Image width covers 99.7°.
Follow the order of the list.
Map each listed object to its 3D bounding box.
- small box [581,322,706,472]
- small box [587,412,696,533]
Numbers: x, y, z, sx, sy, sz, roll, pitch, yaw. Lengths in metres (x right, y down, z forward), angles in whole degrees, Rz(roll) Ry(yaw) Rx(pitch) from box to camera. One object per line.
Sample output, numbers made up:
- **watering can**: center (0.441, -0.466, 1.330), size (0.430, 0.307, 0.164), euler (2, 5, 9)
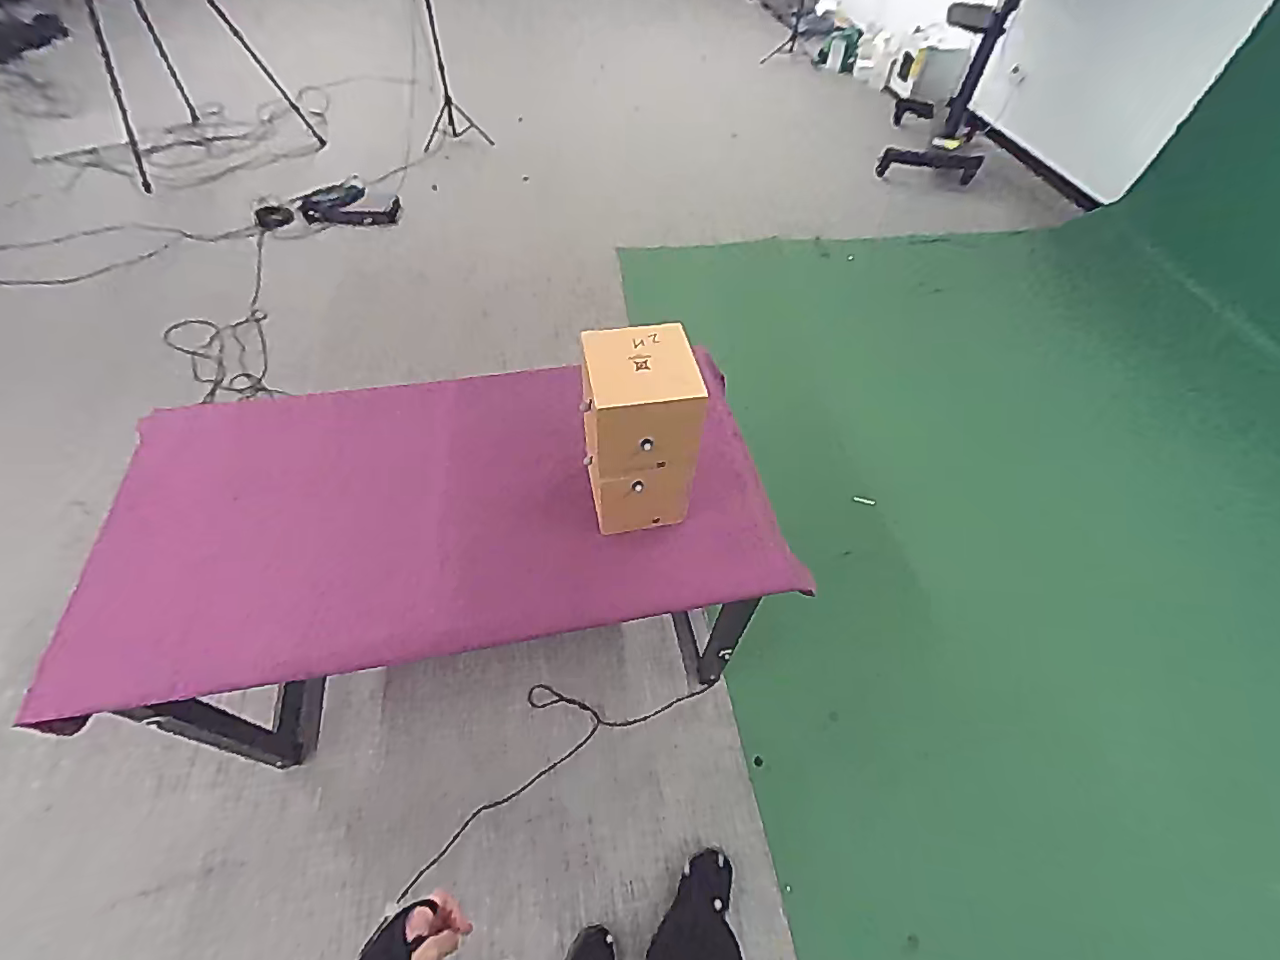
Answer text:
- **small box**: center (0.000, -0.127, 0.872), size (0.168, 0.176, 0.179), euler (-8, 53, -8)
- **small box**: center (-0.004, -0.026, 1.003), size (0.168, 0.176, 0.179), euler (-9, 53, -8)
